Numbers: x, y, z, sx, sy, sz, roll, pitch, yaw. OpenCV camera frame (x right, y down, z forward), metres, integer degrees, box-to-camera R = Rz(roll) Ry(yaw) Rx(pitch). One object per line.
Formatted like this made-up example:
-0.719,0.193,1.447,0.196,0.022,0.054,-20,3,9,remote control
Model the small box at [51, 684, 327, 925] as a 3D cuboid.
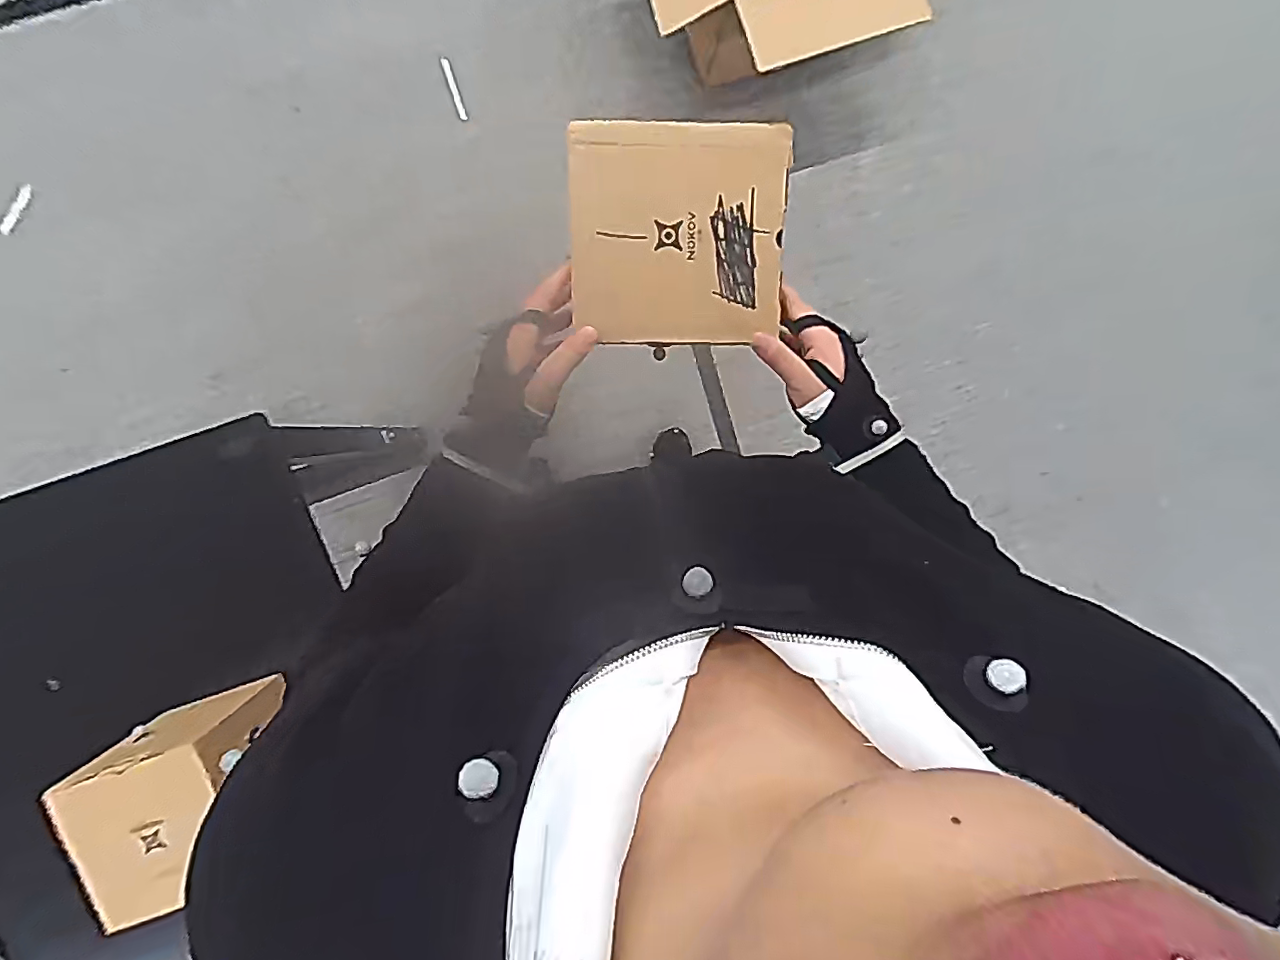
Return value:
-0.532,0.378,0.669,0.168,0.176,0.179,-19,97,-2,small box
